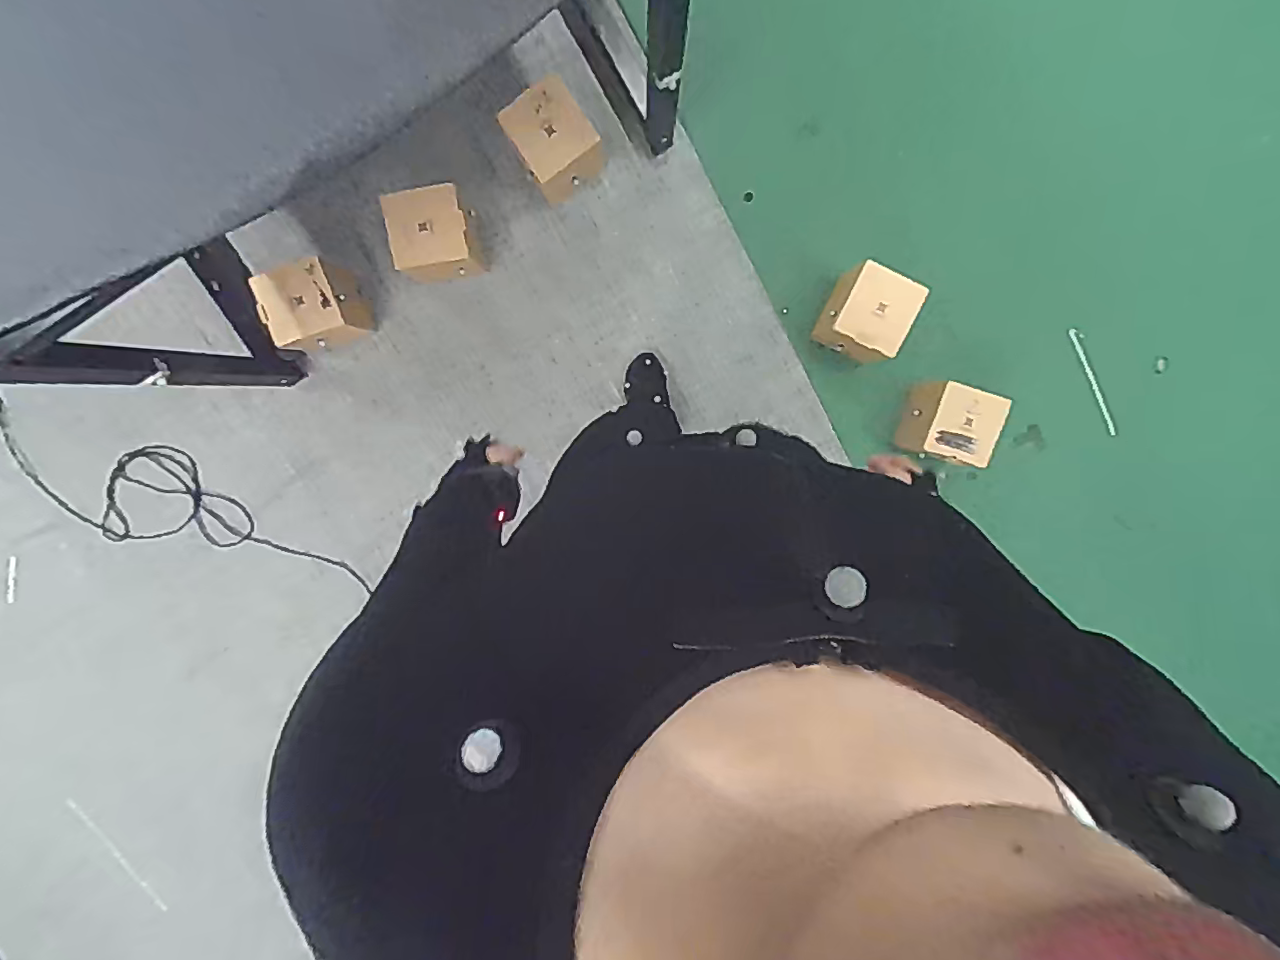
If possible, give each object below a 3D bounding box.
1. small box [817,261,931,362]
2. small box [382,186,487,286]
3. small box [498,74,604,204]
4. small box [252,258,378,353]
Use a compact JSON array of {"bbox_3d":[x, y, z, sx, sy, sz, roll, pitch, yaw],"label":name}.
[{"bbox_3d":[0.562,-0.404,1.328,0.168,0.176,0.179,24,99,-4],"label":"small box"},{"bbox_3d":[-0.480,-0.578,1.301,0.179,0.176,0.168,-10,98,3],"label":"small box"},{"bbox_3d":[-0.198,-0.780,1.266,0.168,0.176,0.179,-35,98,5],"label":"small box"},{"bbox_3d":[-0.787,-0.418,1.328,0.179,0.176,0.168,-18,99,4],"label":"small box"}]
